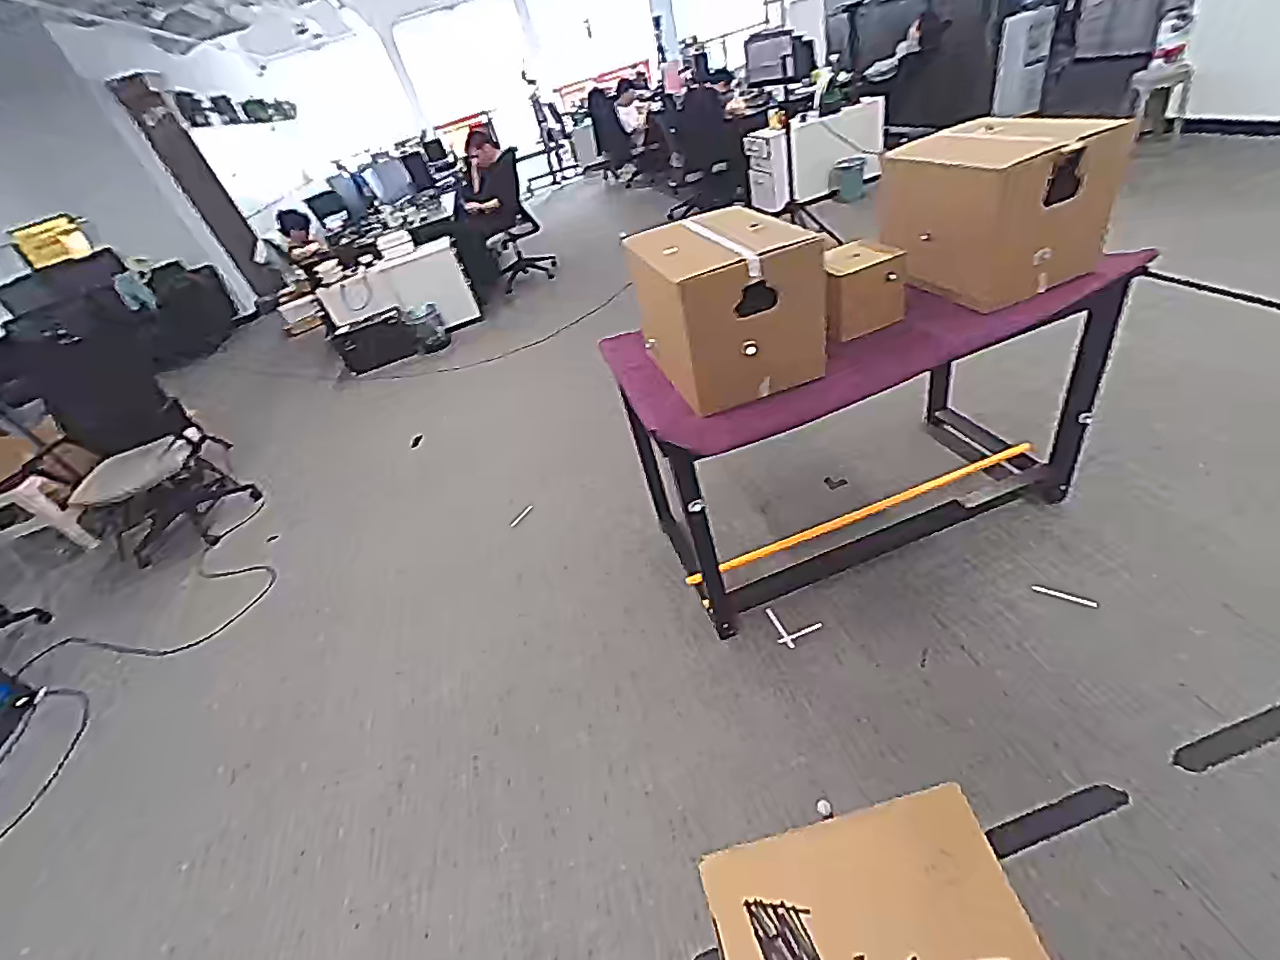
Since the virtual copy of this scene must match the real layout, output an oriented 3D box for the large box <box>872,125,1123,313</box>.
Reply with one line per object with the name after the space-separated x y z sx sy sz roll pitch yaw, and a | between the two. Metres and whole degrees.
0.833 -0.653 1.333 0.320 0.320 0.408 -21 36 -5 | large box
